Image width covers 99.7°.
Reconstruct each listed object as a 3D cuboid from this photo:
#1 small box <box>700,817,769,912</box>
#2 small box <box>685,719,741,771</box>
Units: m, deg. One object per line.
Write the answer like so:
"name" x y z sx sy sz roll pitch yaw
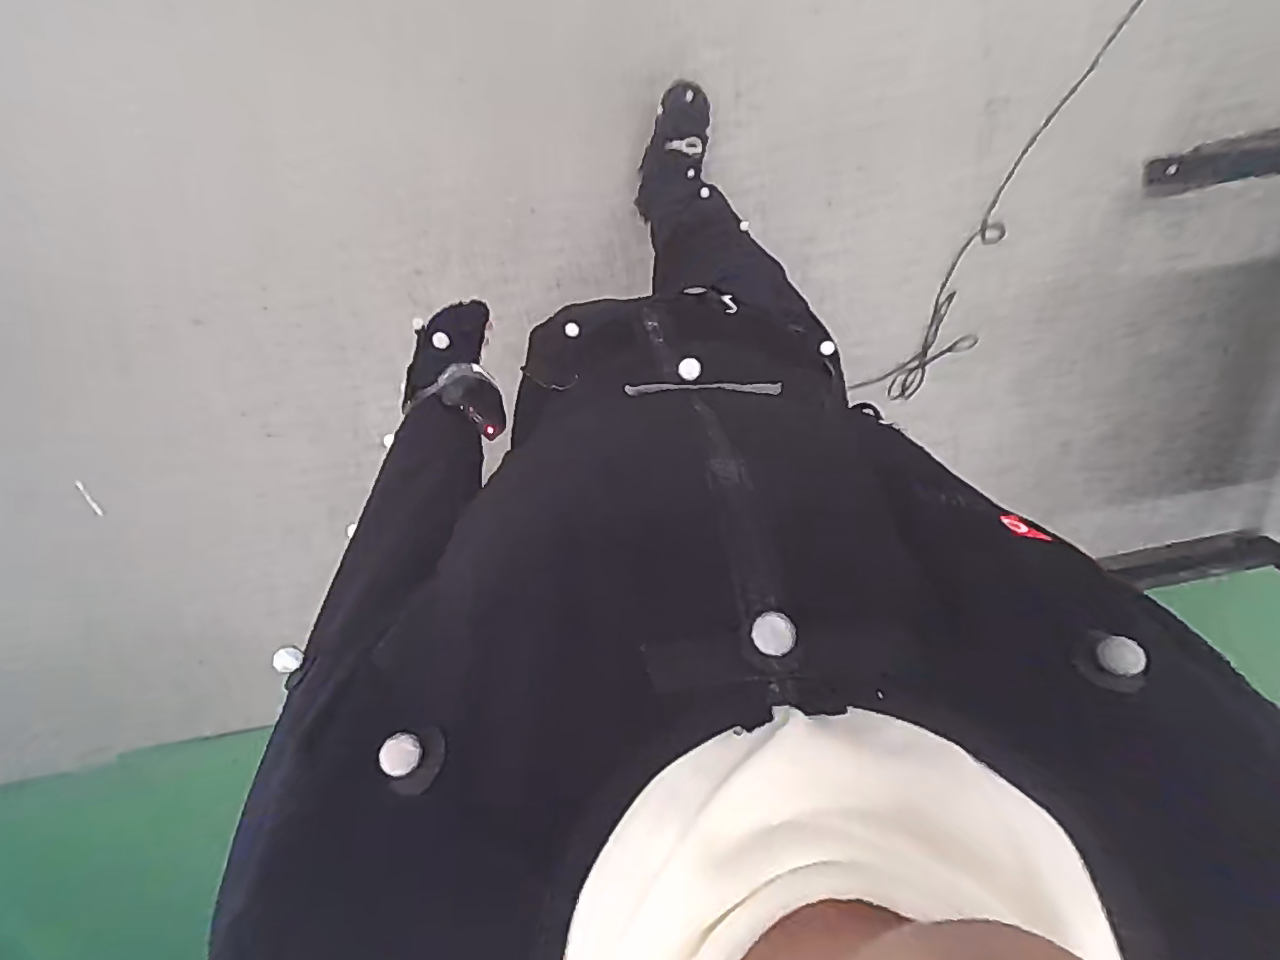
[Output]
"small box" 0.275 1.122 1.590 0.168 0.176 0.179 -8 117 1
"small box" 0.255 0.967 1.879 0.168 0.176 0.179 -10 115 1
